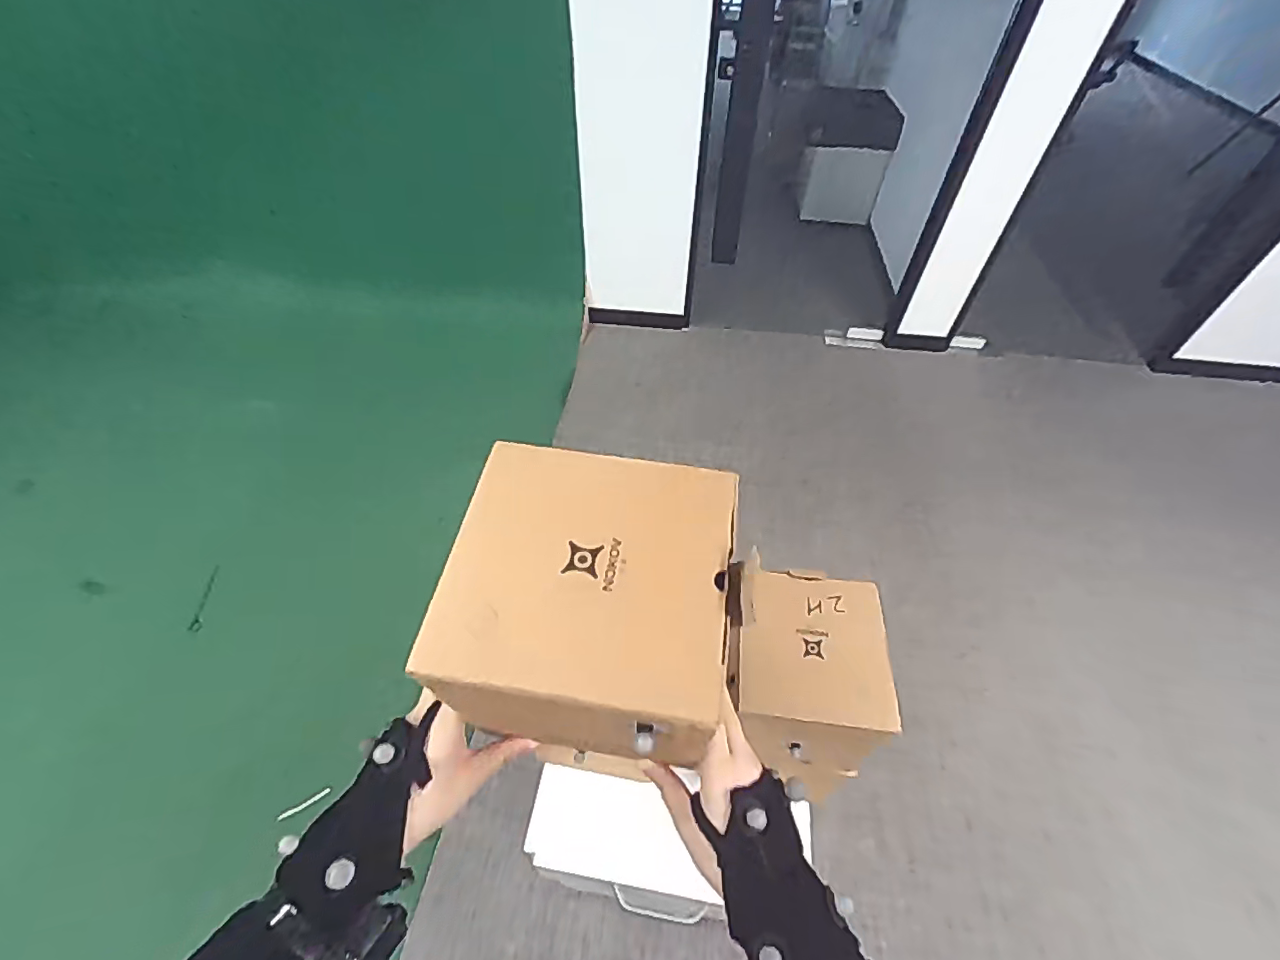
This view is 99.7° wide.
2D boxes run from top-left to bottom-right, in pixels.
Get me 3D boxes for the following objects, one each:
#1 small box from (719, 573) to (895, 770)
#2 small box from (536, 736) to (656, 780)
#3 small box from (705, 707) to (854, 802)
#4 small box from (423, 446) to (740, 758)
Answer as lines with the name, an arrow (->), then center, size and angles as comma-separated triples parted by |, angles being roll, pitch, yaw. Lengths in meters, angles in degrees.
small box -> 0.191, 0.240, 0.670 | 0.168, 0.176, 0.179 | 6, 49, 4
small box -> -0.052, 0.327, 0.803 | 0.179, 0.176, 0.168 | 9, 50, 5
small box -> 0.194, 0.352, 0.791 | 0.179, 0.176, 0.168 | 8, 50, 5
small box -> -0.028, 0.098, 0.409 | 0.179, 0.176, 0.168 | 8, 54, 4
